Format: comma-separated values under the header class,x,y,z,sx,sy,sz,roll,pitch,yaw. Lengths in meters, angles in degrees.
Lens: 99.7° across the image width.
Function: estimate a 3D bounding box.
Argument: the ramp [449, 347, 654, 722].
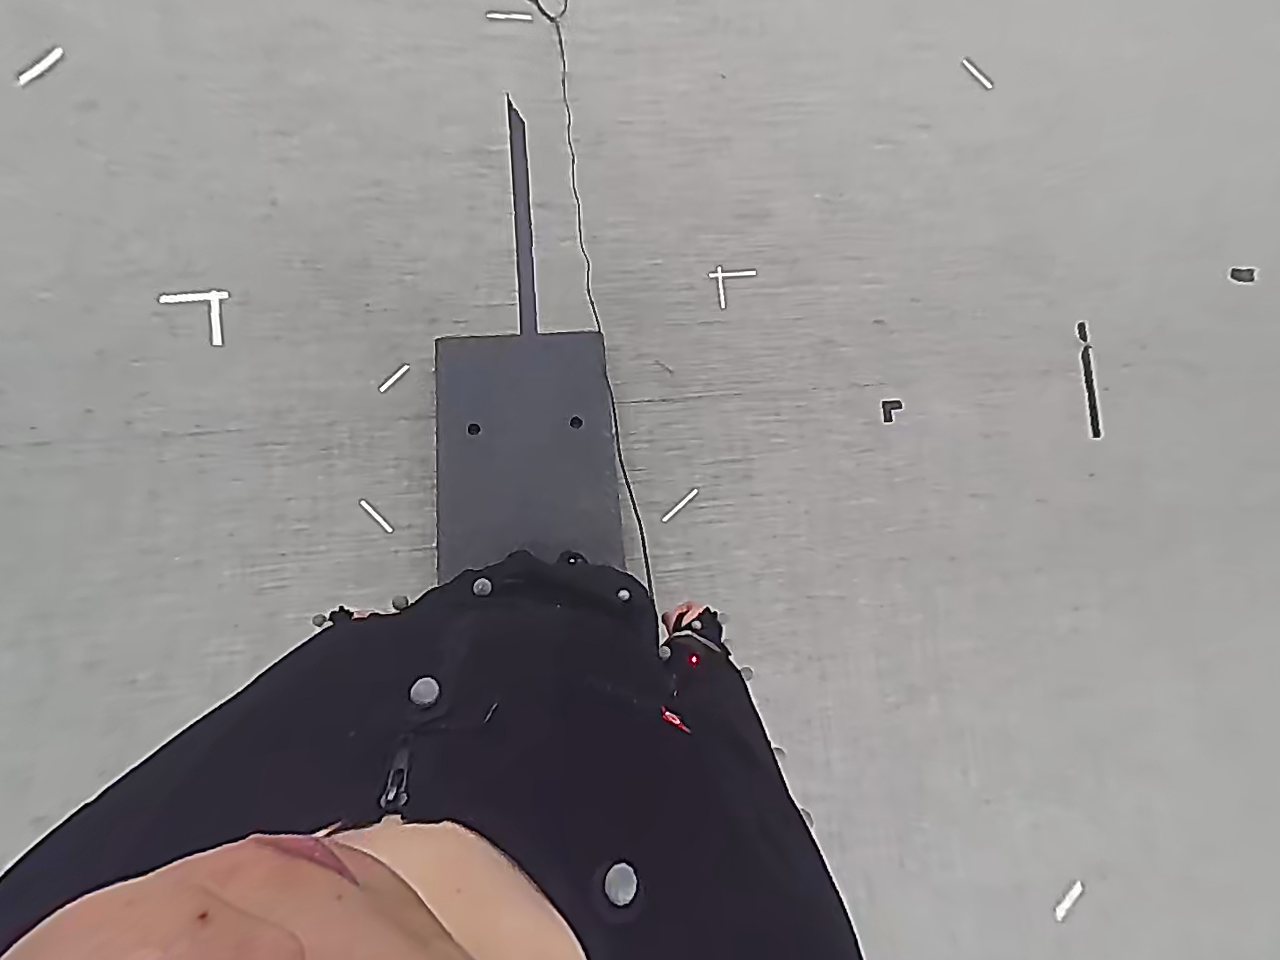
class,x,y,z,sx,sy,sz,roll,pitch,yaw
ramp,-0.265,0.090,1.471,0.509,0.206,0.991,-7,83,-6
